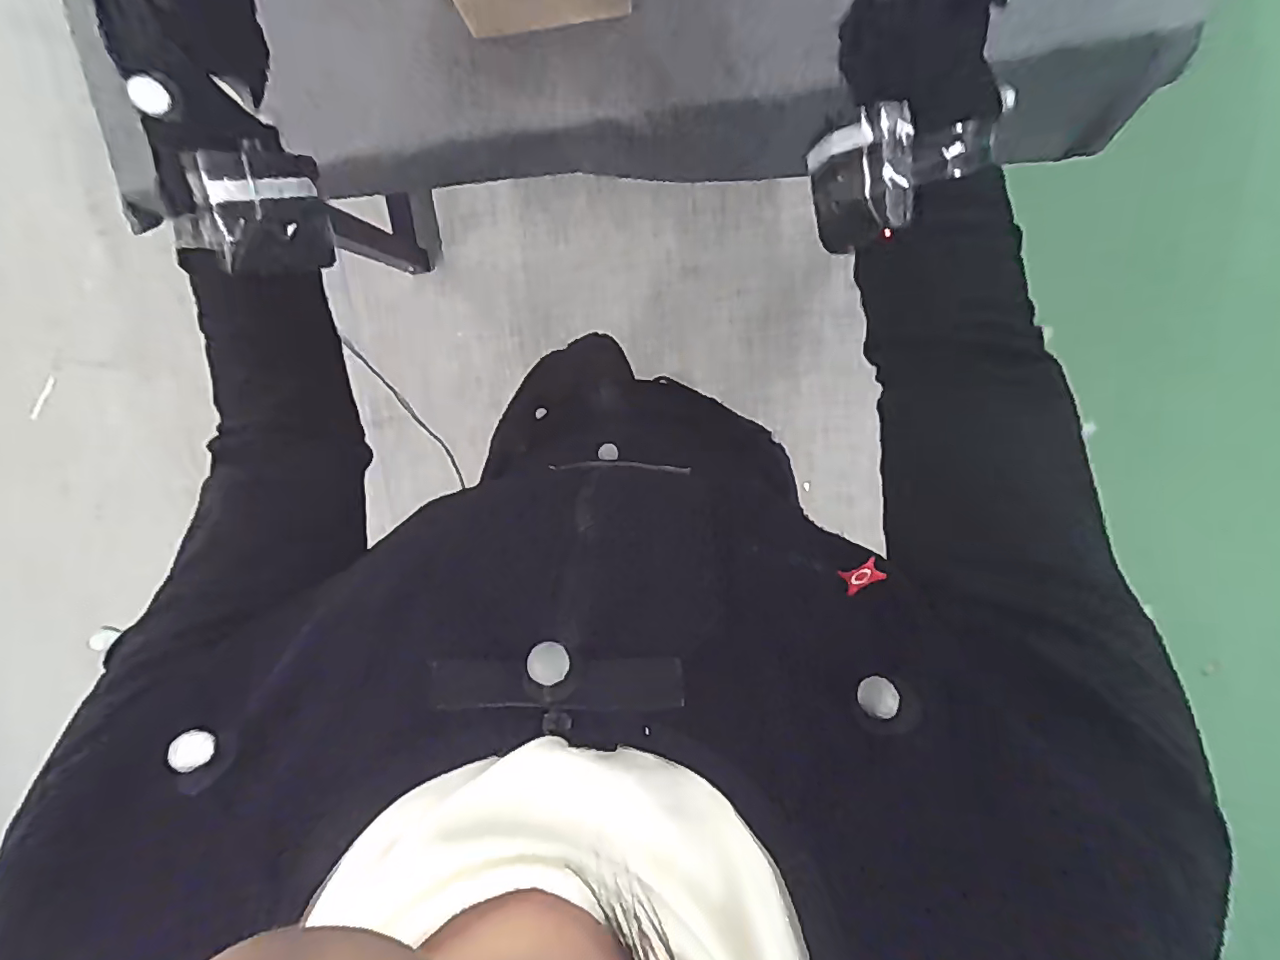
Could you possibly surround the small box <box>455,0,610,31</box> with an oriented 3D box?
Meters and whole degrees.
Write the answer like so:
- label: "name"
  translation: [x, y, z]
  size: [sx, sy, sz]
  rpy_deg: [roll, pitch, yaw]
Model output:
- label: "small box"
  translation: [-0.111, -0.559, 0.492]
  size: [0.179, 0.176, 0.168]
  rpy_deg: [-6, 102, 4]
